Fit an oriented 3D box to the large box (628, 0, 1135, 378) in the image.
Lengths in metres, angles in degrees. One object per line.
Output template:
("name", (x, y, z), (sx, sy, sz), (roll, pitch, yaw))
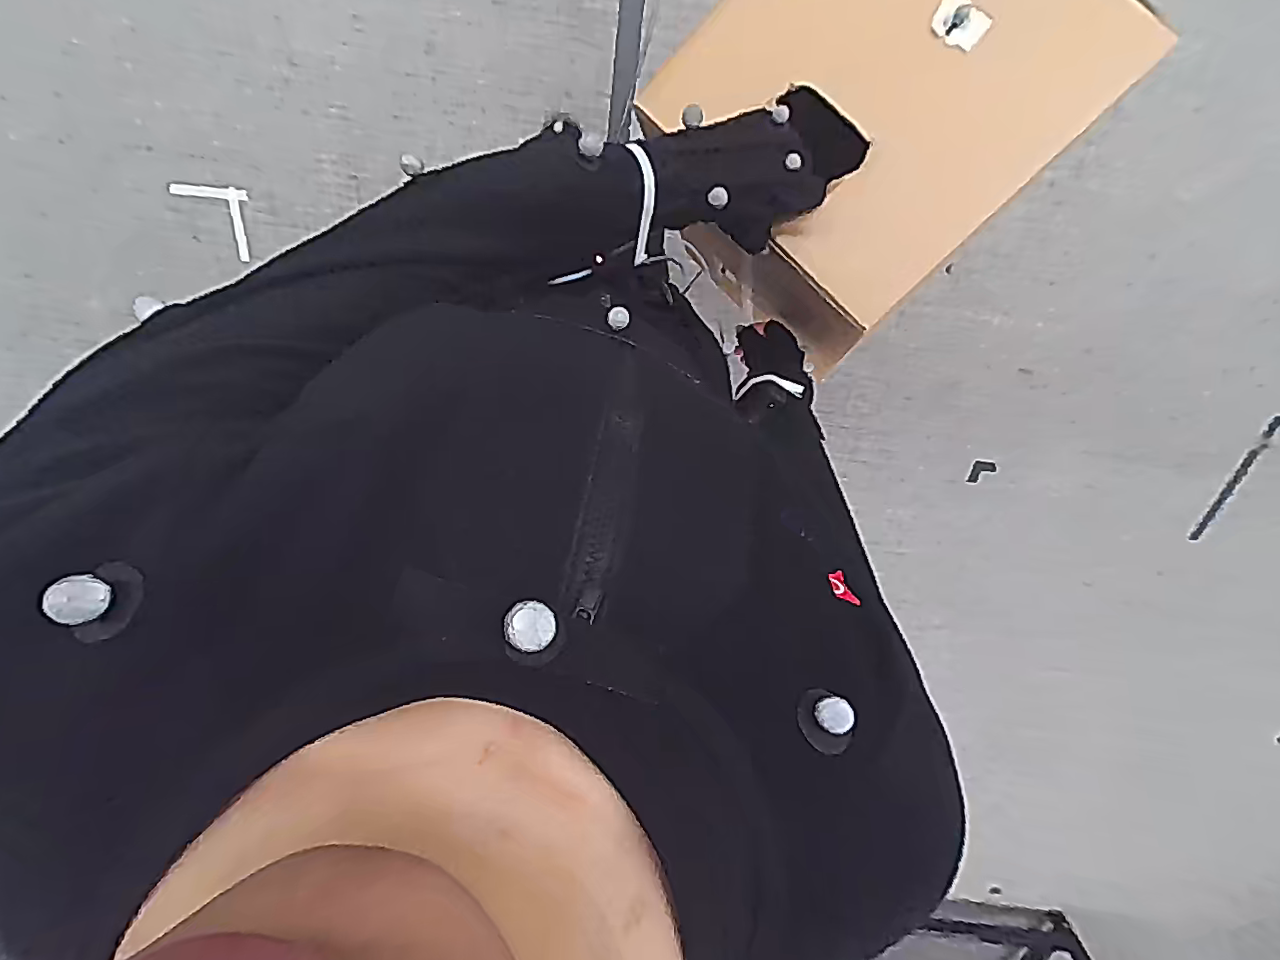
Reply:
("large box", (0.241, -0.365, 0.662), (0.320, 0.408, 0.320), (-43, 83, 13))
